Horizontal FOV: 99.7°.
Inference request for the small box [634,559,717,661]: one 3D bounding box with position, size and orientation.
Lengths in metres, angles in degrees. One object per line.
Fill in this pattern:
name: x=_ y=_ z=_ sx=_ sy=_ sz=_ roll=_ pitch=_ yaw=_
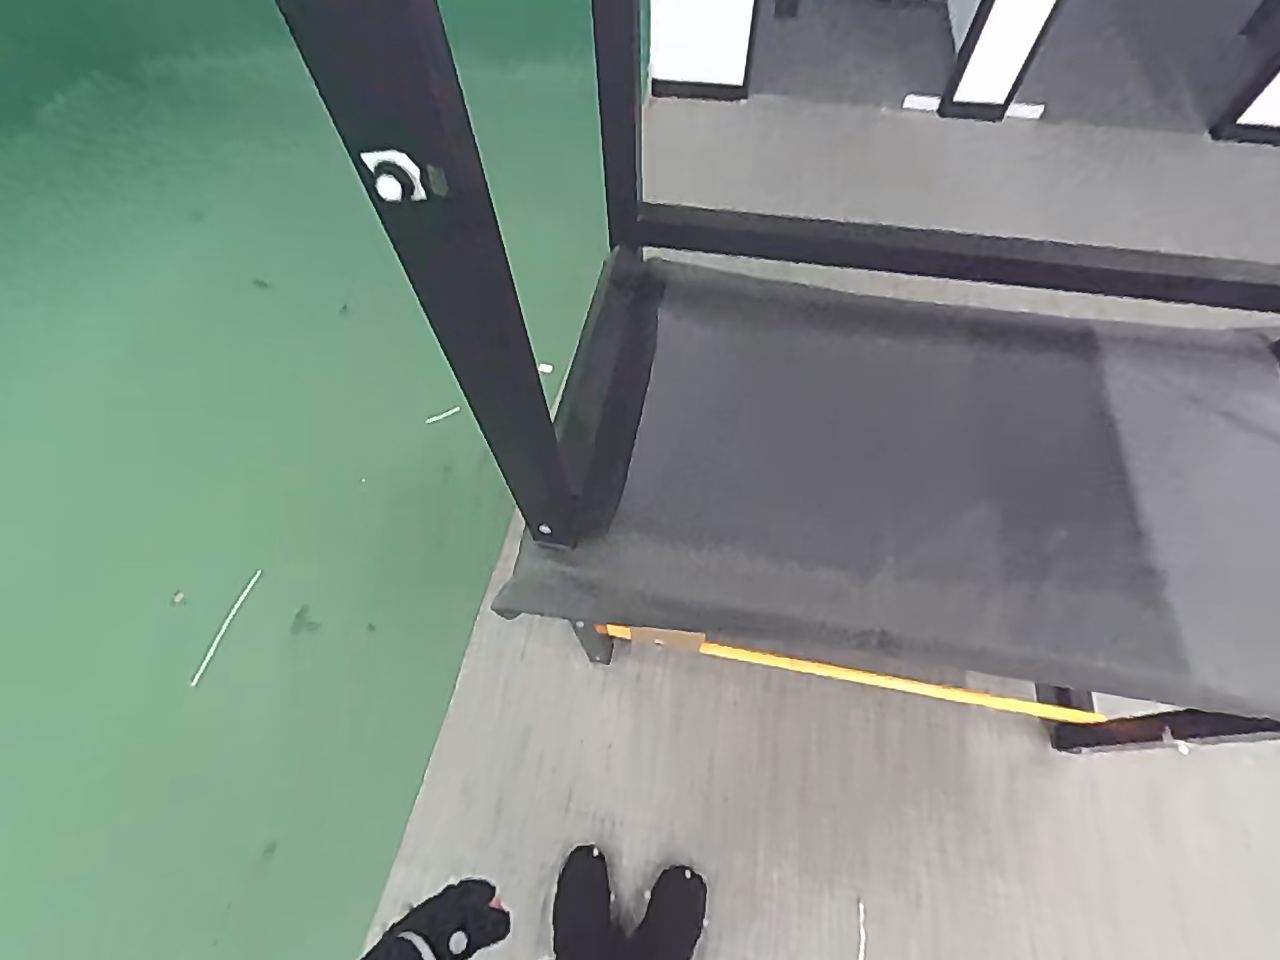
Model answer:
small box: x=0.081 y=0.306 z=1.257 sx=0.168 sy=0.176 sz=0.179 roll=8 pitch=62 yaw=5
